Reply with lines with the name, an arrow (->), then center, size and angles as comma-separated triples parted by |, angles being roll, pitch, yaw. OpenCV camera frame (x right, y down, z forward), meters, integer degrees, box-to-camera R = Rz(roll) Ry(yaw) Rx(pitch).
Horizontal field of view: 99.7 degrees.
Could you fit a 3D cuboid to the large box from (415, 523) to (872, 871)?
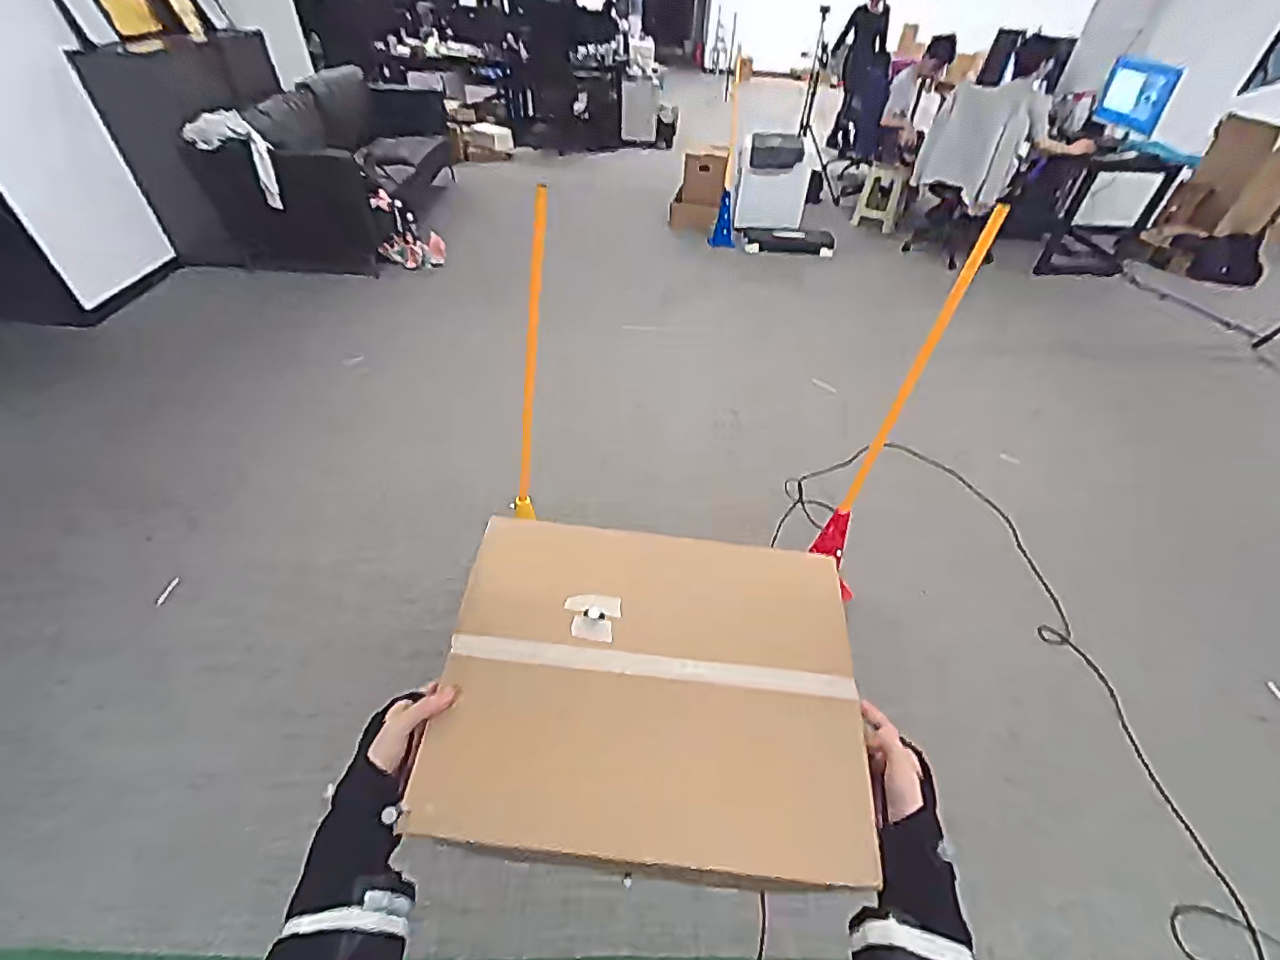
large box -> 0.010, 0.279, 0.670 | 0.408, 0.320, 0.320 | 6, 52, 1
